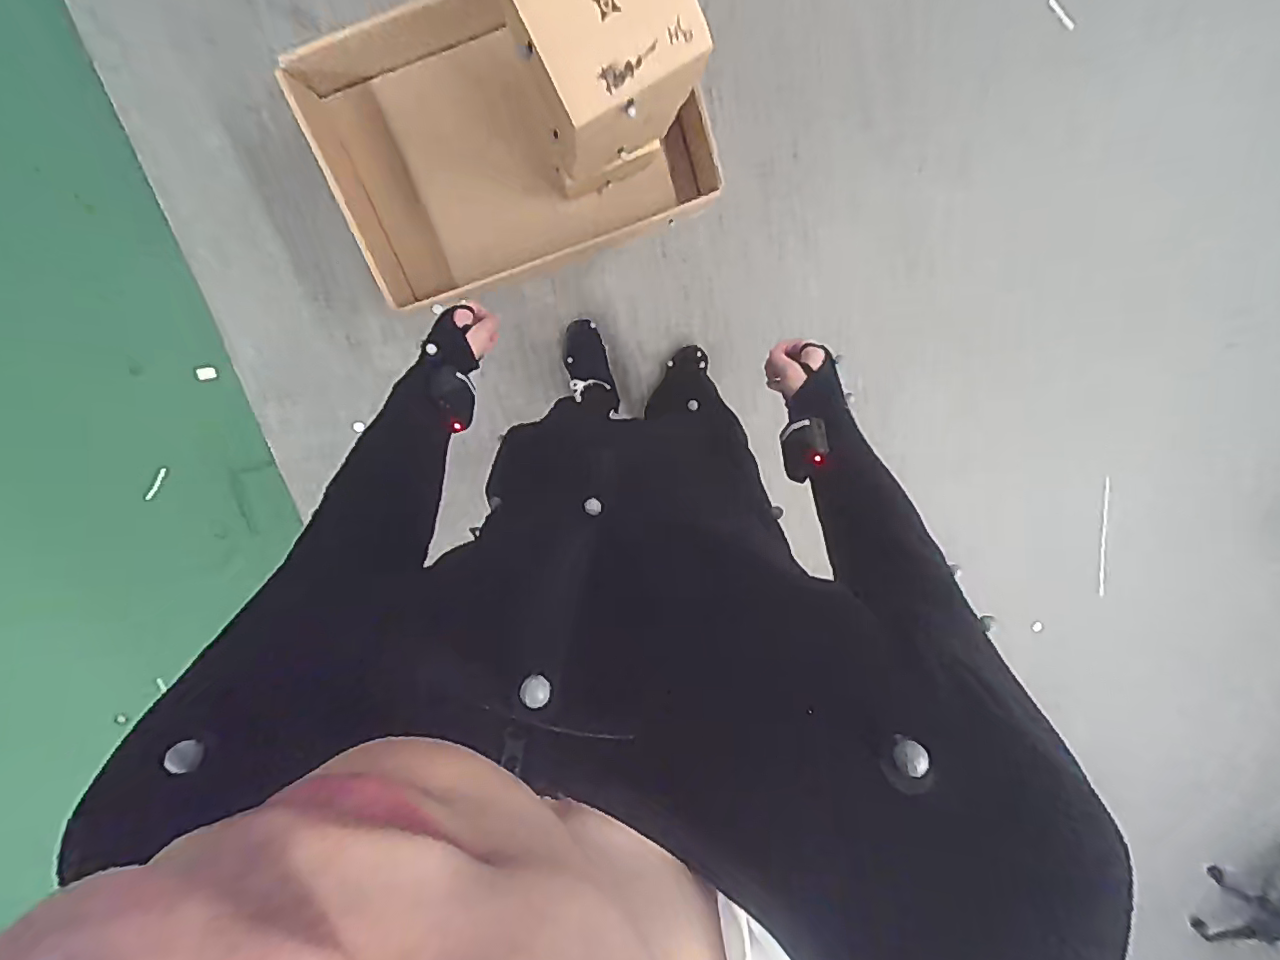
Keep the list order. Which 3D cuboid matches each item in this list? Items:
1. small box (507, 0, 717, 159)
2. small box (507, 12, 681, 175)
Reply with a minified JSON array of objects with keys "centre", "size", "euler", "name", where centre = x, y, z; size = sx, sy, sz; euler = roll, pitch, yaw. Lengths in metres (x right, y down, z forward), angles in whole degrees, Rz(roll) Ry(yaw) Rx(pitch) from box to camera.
[{"centre":[-0.039,-0.493,0.593],"size":[0.168,0.176,0.179],"euler":[-27,110,5],"name":"small box"},{"centre":[-0.059,-0.548,0.747],"size":[0.168,0.176,0.179],"euler":[-26,110,3],"name":"small box"}]
